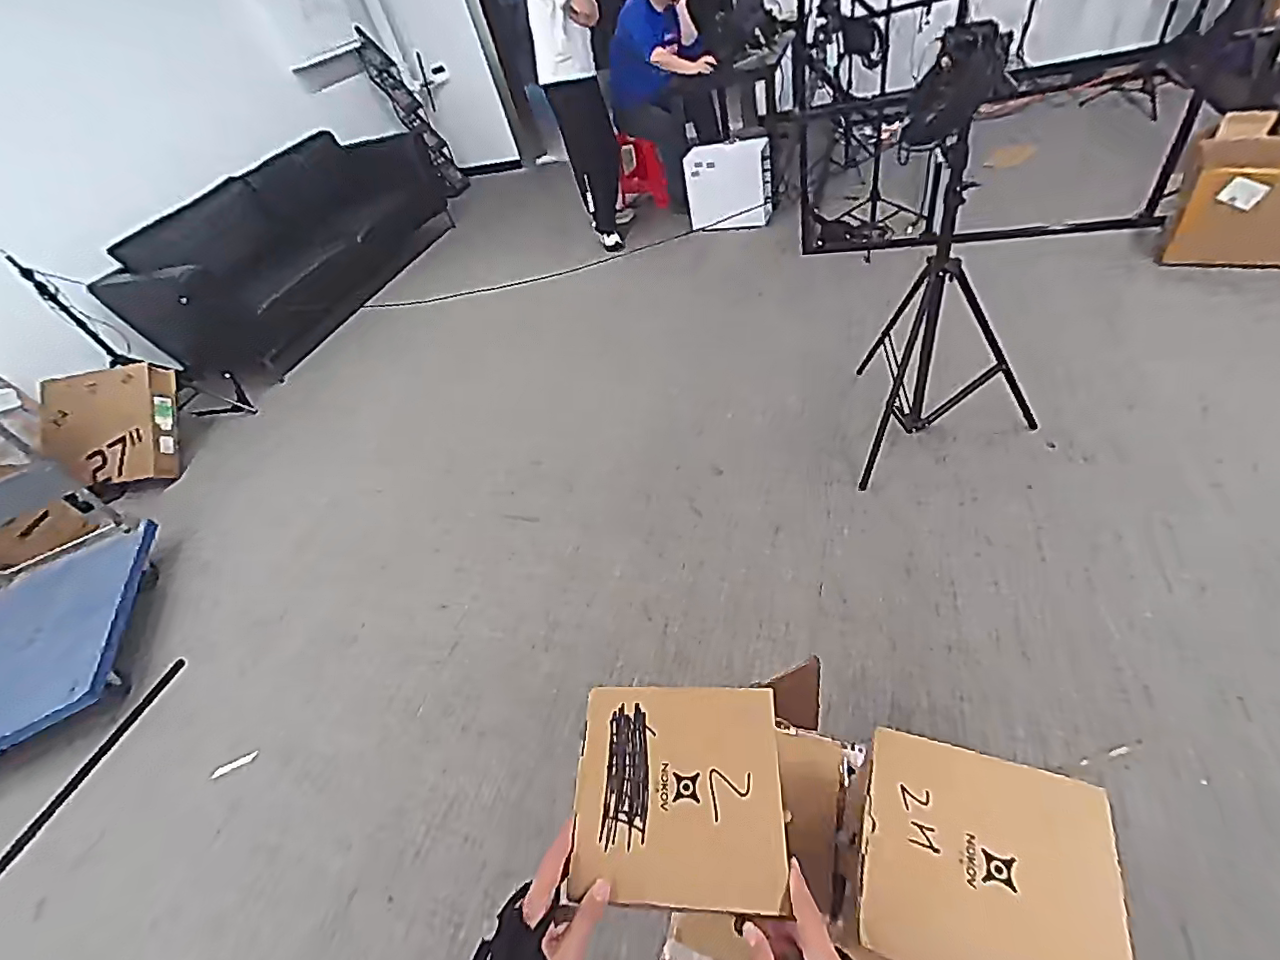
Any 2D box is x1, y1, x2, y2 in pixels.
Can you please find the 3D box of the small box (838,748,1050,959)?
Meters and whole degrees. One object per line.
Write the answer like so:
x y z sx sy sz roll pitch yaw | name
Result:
0.327 0.437 0.606 0.179 0.176 0.168 11 53 24 | small box
